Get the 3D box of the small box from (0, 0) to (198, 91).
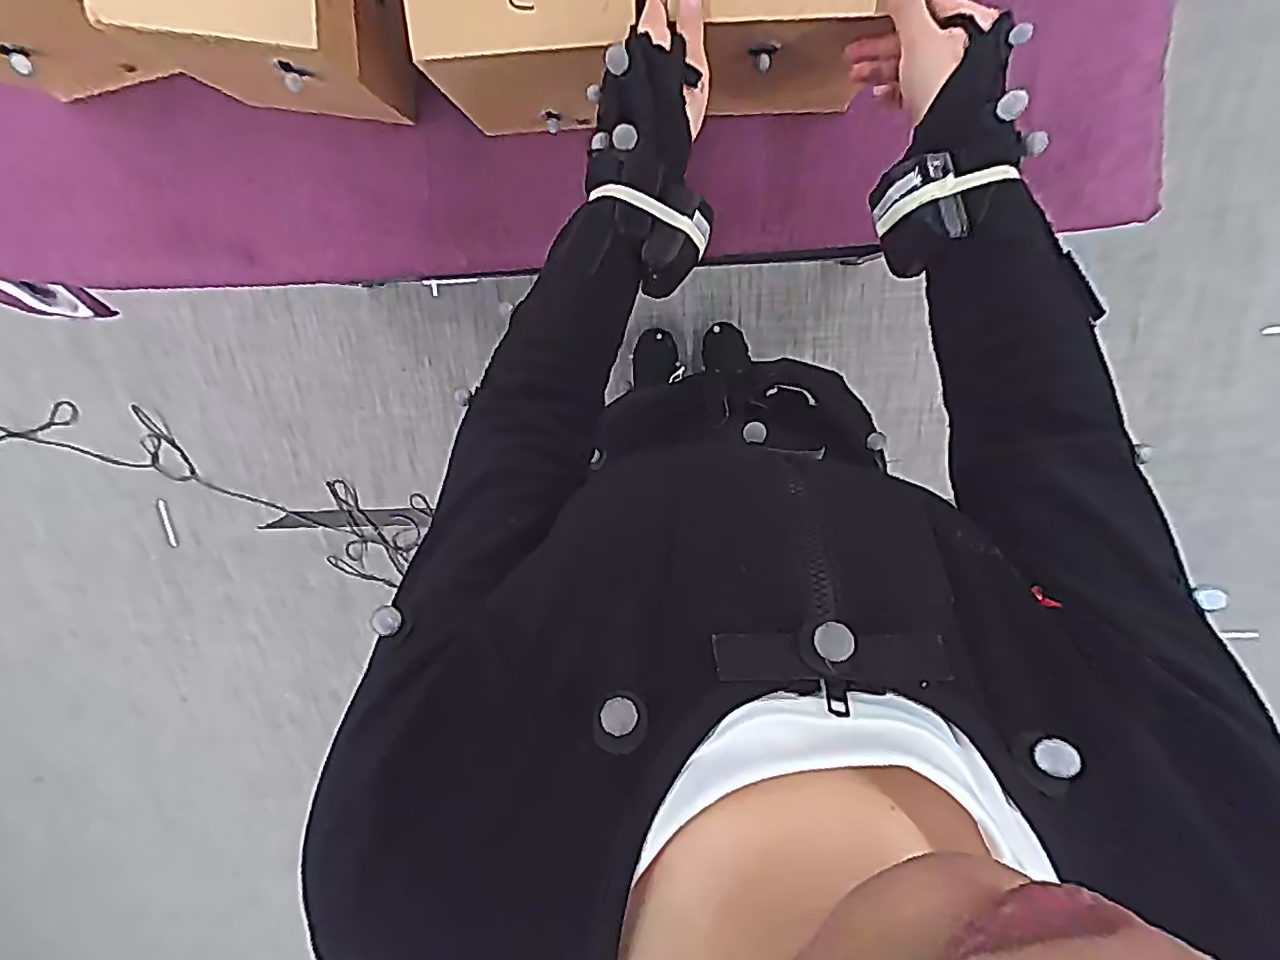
[{"bbox_3d":[-0.534,-0.460,0.453,0.168,0.176,0.179,-10,107,6],"label":"small box"}]
